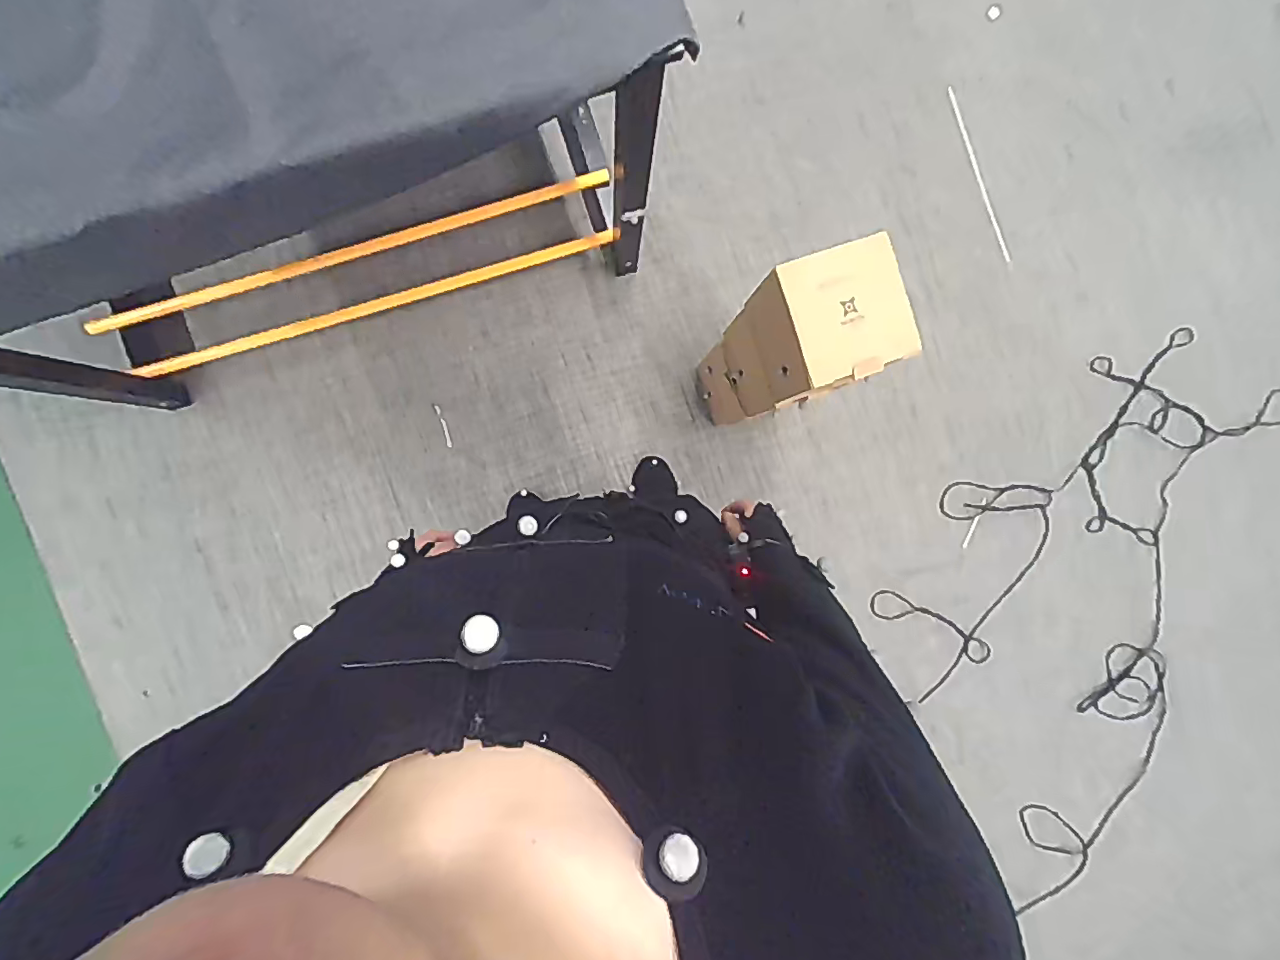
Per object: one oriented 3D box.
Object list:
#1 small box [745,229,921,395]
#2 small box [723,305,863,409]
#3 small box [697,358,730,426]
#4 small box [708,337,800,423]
[{"bbox_3d":[0.276,-0.235,0.809,0.168,0.176,0.179,-20,91,-4],"label":"small box"},{"bbox_3d":[0.265,-0.232,0.971,0.168,0.176,0.179,-19,93,-4],"label":"small box"},{"bbox_3d":[0.253,-0.237,1.298,0.179,0.176,0.168,-18,91,-4],"label":"small box"},{"bbox_3d":[0.253,-0.227,1.135,0.179,0.176,0.168,-20,92,-4],"label":"small box"}]
